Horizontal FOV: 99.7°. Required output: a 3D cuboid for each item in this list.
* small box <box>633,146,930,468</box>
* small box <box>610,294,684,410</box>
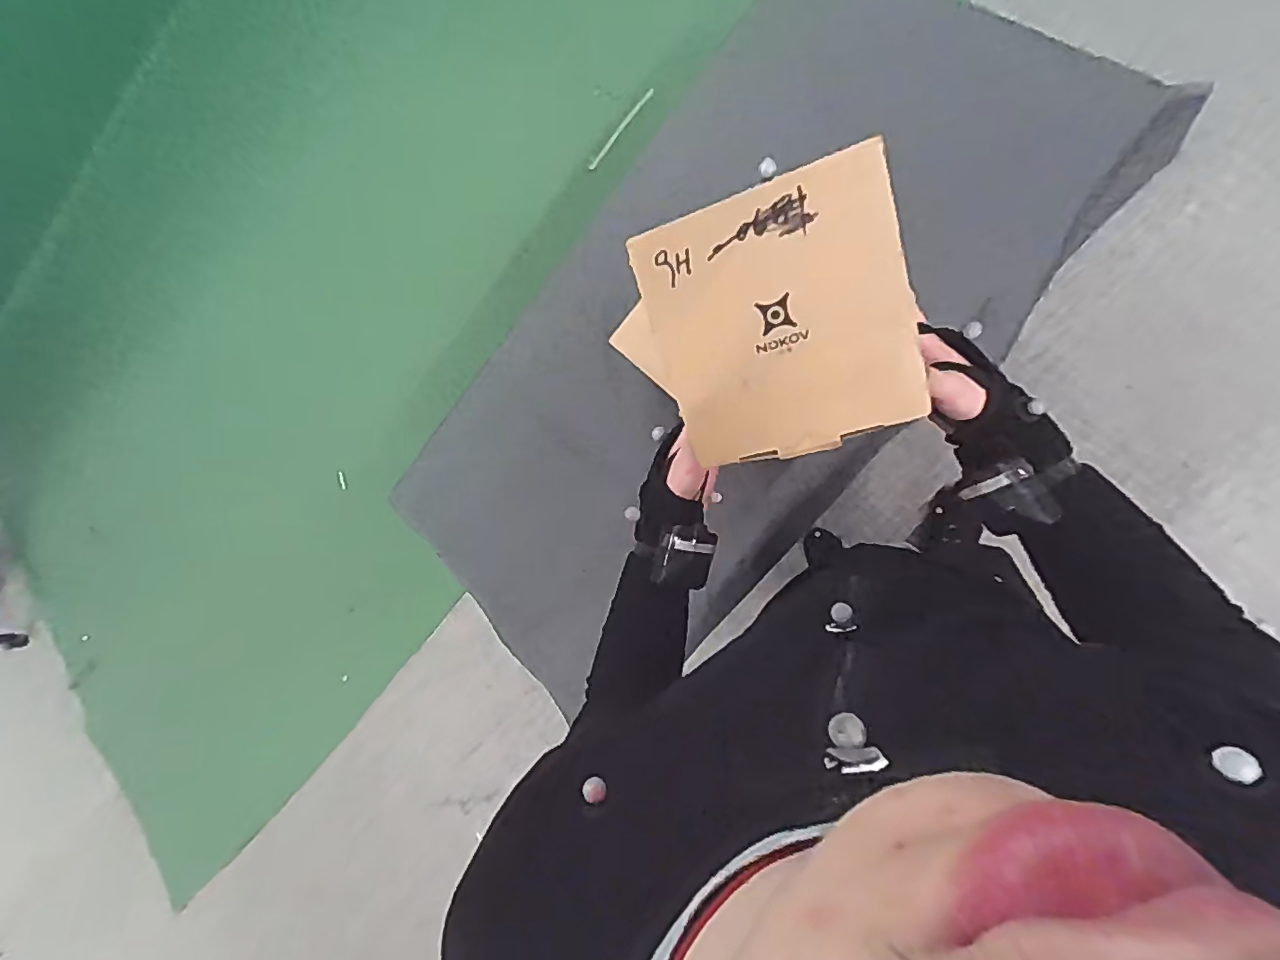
[{"bbox_3d":[0.115,-0.134,0.434,0.168,0.176,0.179,-13,110,19],"label":"small box"},{"bbox_3d":[0.093,-0.194,0.807,0.179,0.176,0.168,43,98,18],"label":"small box"}]
